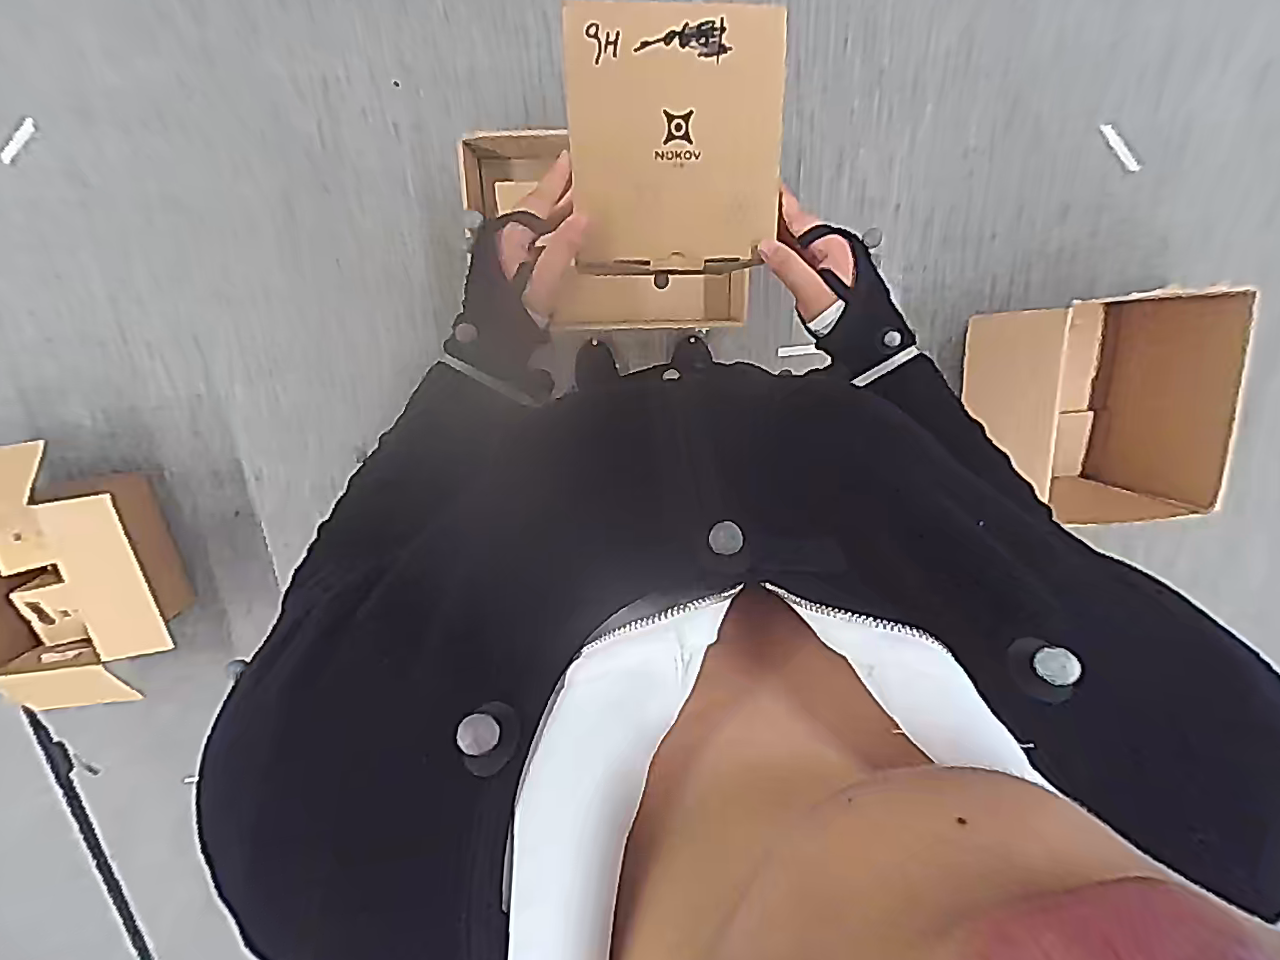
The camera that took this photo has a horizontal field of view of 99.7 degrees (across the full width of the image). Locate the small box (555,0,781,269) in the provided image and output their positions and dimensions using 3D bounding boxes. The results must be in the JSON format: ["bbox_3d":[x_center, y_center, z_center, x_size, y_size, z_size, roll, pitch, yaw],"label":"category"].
[{"bbox_3d":[0.015,-0.286,0.488,0.168,0.176,0.179,-3,108,-5],"label":"small box"}]

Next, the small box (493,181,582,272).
[{"bbox_3d":[-0.219,-0.562,1.214,0.179,0.176,0.168,-3,108,-3],"label":"small box"}]
